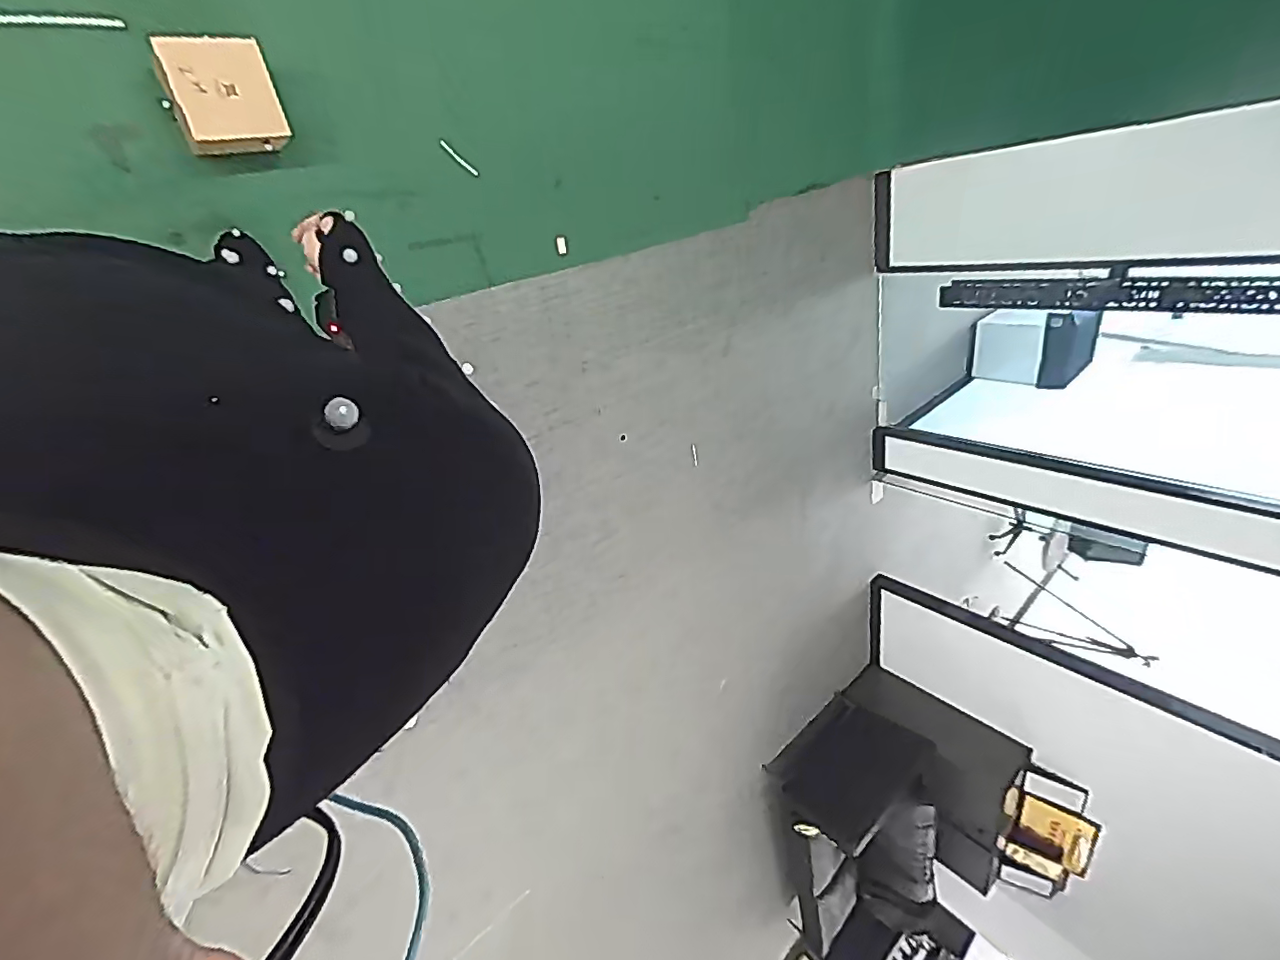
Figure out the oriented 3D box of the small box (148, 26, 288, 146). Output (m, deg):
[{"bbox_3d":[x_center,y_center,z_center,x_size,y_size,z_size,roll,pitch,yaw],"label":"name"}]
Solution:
[{"bbox_3d":[-0.863,-0.796,1.107,0.179,0.176,0.168,-27,121,-31],"label":"small box"}]
